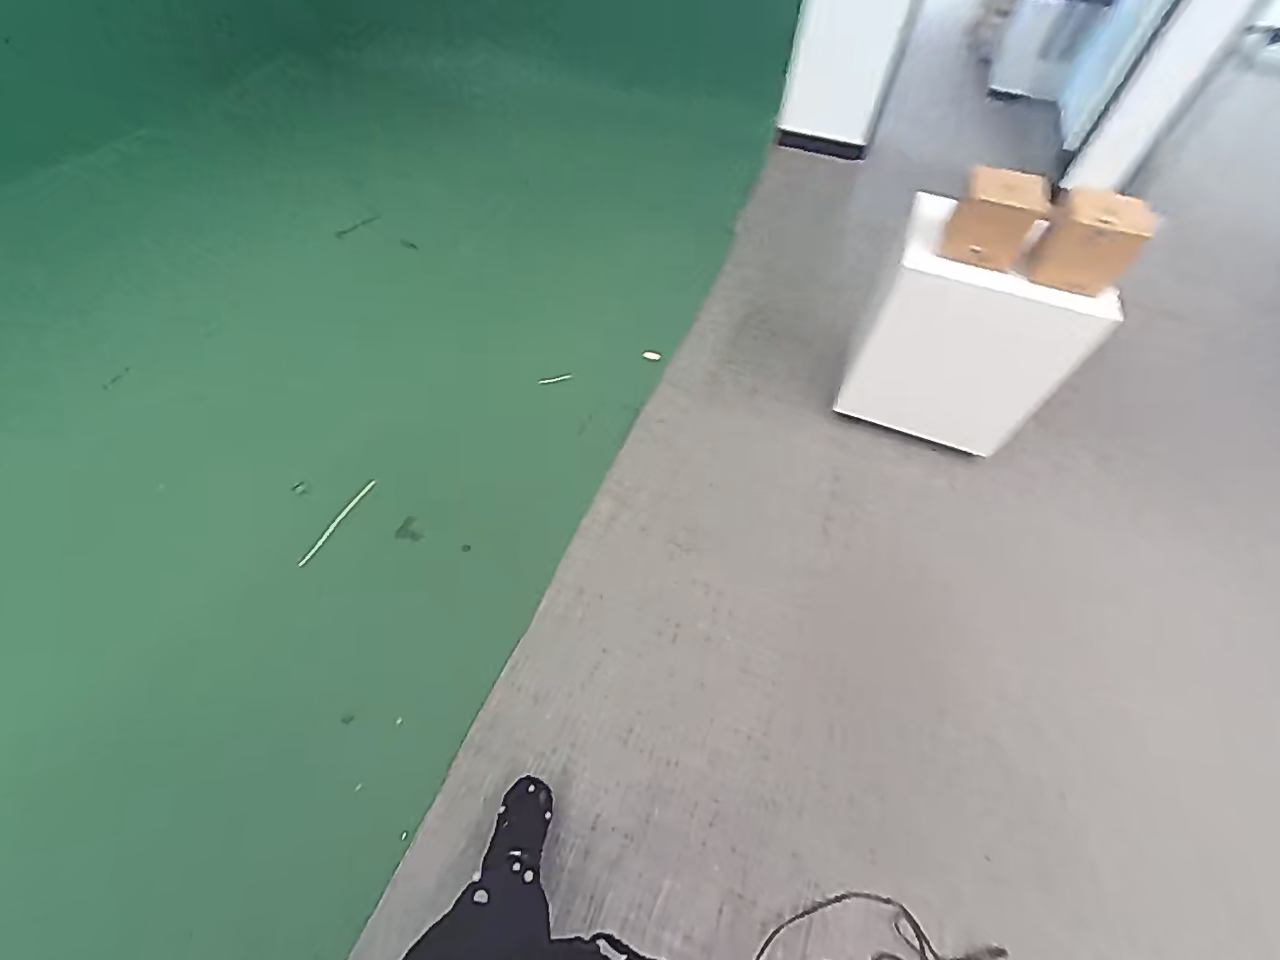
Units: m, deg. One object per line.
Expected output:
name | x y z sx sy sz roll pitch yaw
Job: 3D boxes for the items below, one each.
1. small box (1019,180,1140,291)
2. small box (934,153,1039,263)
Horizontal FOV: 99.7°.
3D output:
small box | 1.068 -0.600 1.331 0.168 0.176 0.179 19 57 10
small box | 0.868 -0.685 1.366 0.168 0.176 0.179 17 59 10
